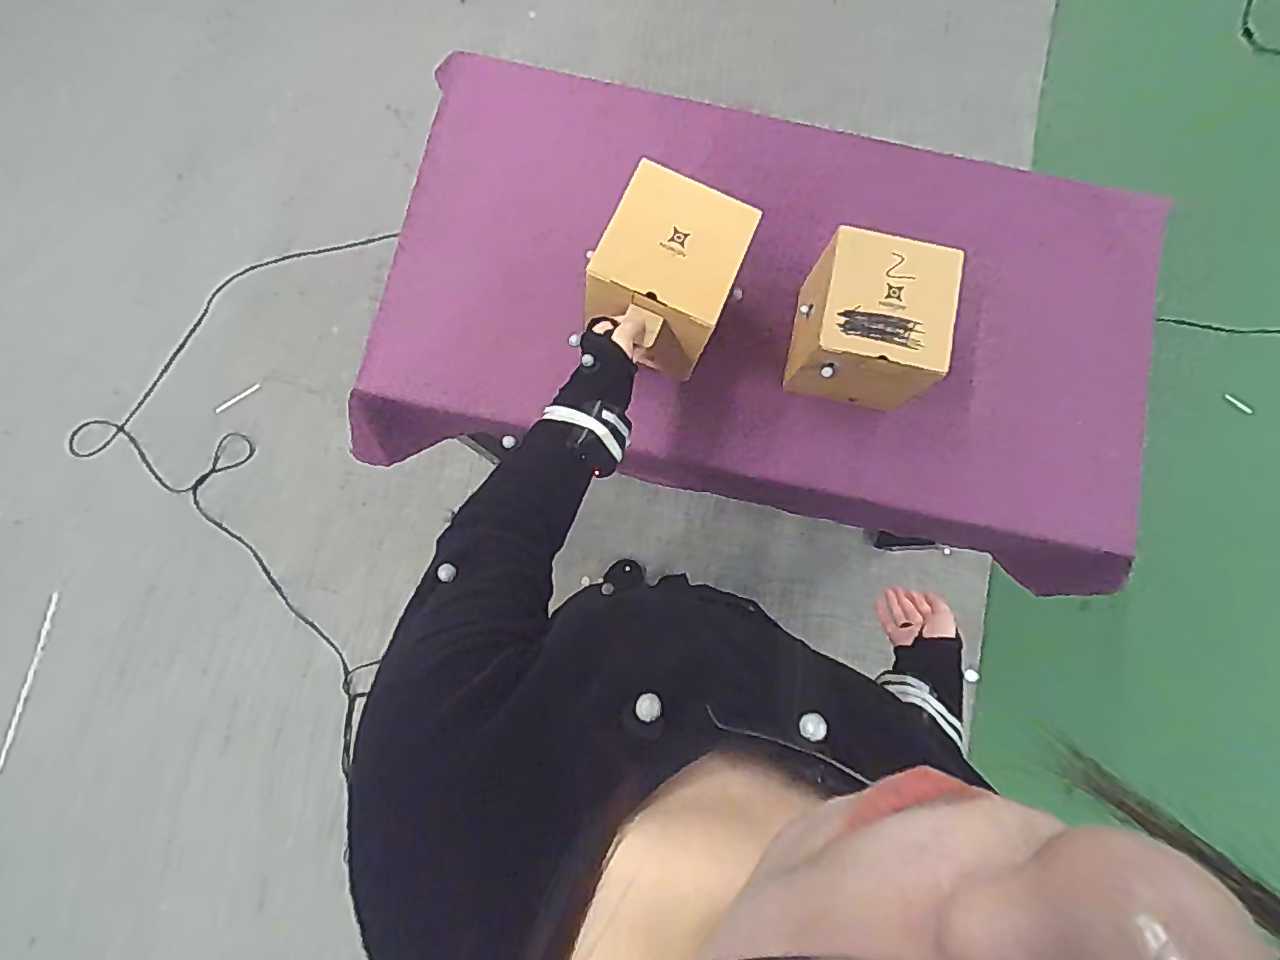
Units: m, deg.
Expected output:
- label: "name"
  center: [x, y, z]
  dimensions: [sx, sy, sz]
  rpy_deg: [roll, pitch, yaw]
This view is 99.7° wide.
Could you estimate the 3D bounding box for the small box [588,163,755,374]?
- label: "small box"
  center: [0.032, -0.277, 0.743]
  dimensions: [0.168, 0.176, 0.179]
  rpy_deg: [23, 78, -2]
